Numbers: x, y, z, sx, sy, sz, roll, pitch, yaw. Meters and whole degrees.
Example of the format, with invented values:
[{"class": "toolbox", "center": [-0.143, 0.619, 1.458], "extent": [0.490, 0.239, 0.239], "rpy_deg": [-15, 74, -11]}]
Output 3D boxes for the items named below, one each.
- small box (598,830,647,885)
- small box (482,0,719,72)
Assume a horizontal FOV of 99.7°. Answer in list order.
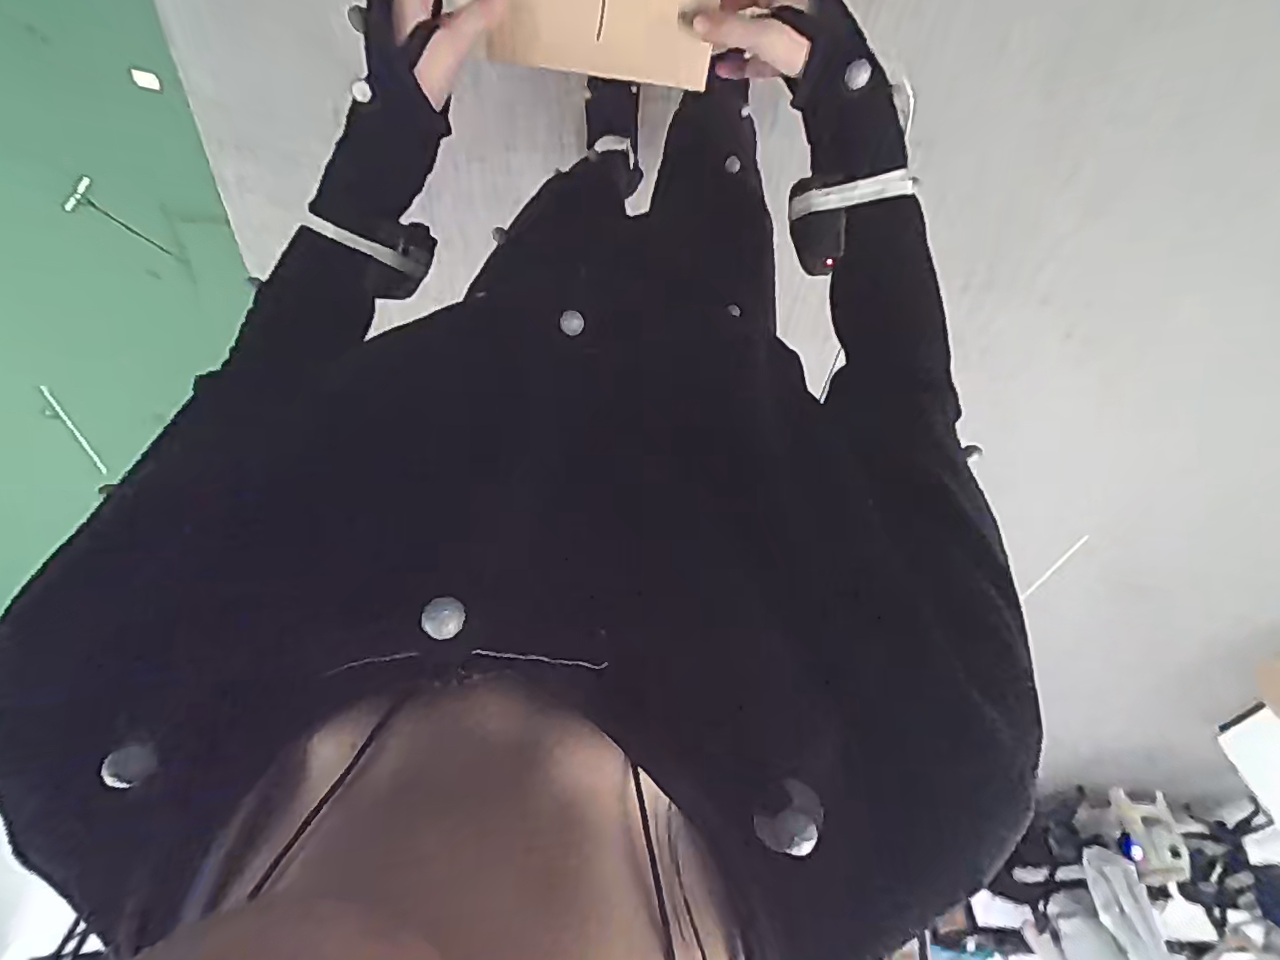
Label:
[{"class": "small box", "center": [-0.072, 1.561, 2.227], "extent": [0.179, 0.176, 0.168], "rpy_deg": [8, 134, -5]}, {"class": "small box", "center": [-0.027, -0.428, 0.387], "extent": [0.168, 0.176, 0.179], "rpy_deg": [1, 138, -10]}]
